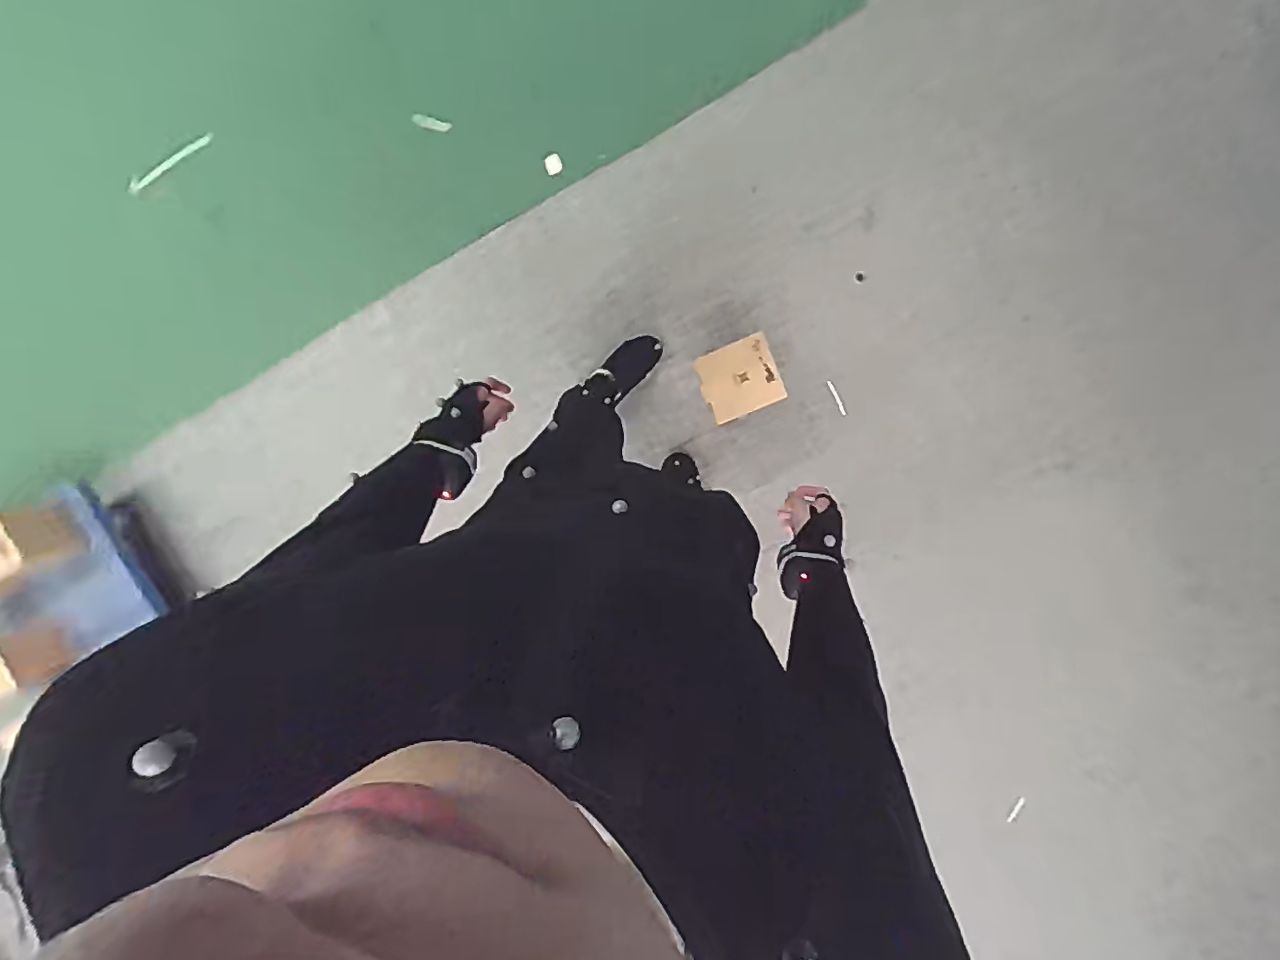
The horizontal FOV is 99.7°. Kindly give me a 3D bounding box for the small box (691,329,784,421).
[{"bbox_3d":[0.237,-0.254,1.330,0.179,0.176,0.168,-21,97,10],"label":"small box"}]

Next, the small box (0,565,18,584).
[{"bbox_3d":[-2.025,0.266,1.590,0.179,0.176,0.168,-26,97,8],"label":"small box"}]

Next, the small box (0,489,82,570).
[{"bbox_3d":[-1.791,0.142,1.567,0.179,0.176,0.168,-26,96,9],"label":"small box"}]

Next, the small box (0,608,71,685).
[{"bbox_3d":[-1.896,0.513,1.624,0.179,0.176,0.168,-25,96,7],"label":"small box"}]
